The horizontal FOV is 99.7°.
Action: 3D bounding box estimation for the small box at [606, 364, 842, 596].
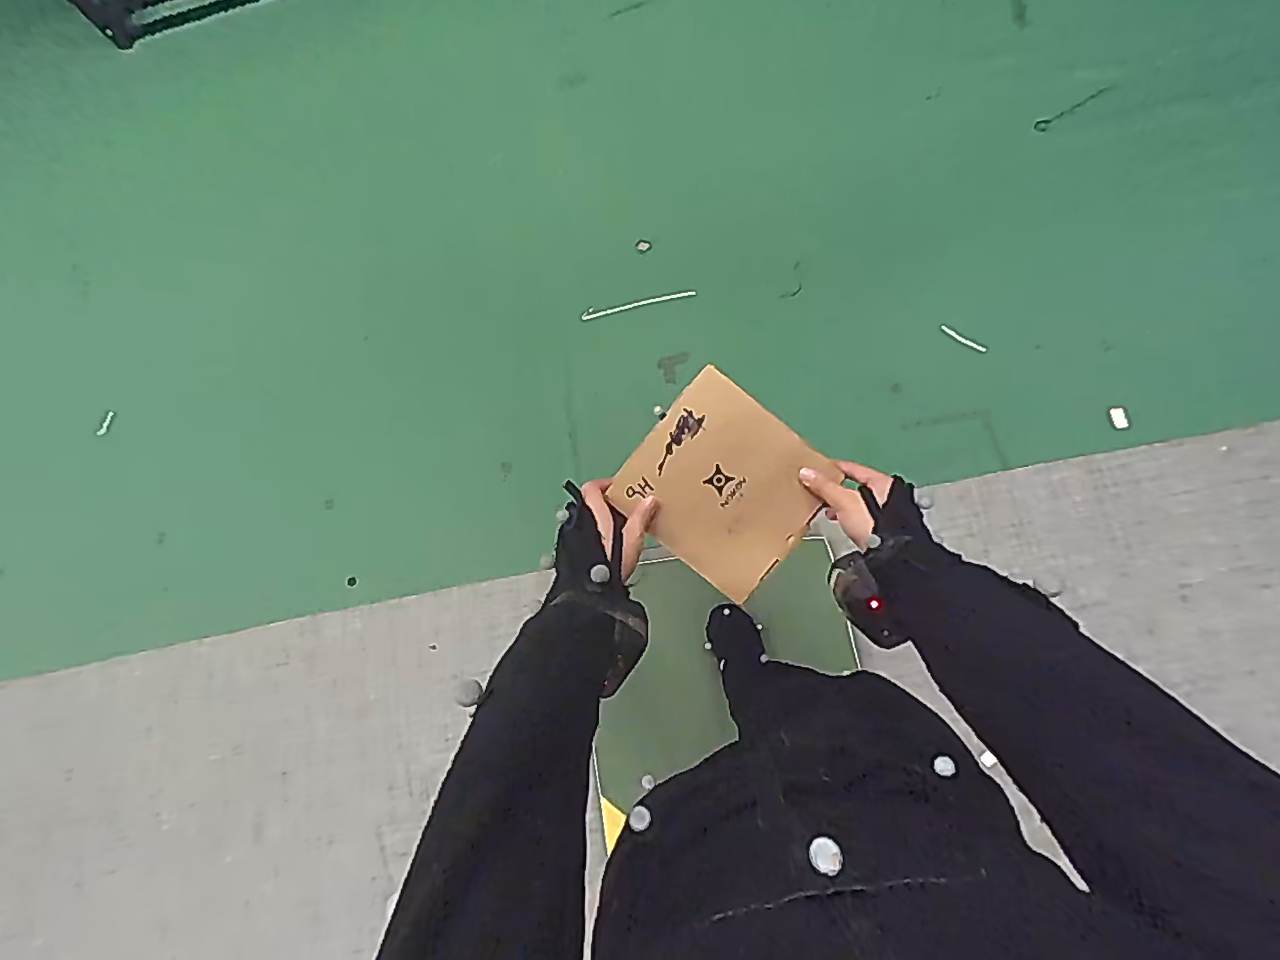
[{"bbox_3d":[0.081,-0.005,0.607,0.179,0.176,0.168,39,92,-3],"label":"small box"}]
